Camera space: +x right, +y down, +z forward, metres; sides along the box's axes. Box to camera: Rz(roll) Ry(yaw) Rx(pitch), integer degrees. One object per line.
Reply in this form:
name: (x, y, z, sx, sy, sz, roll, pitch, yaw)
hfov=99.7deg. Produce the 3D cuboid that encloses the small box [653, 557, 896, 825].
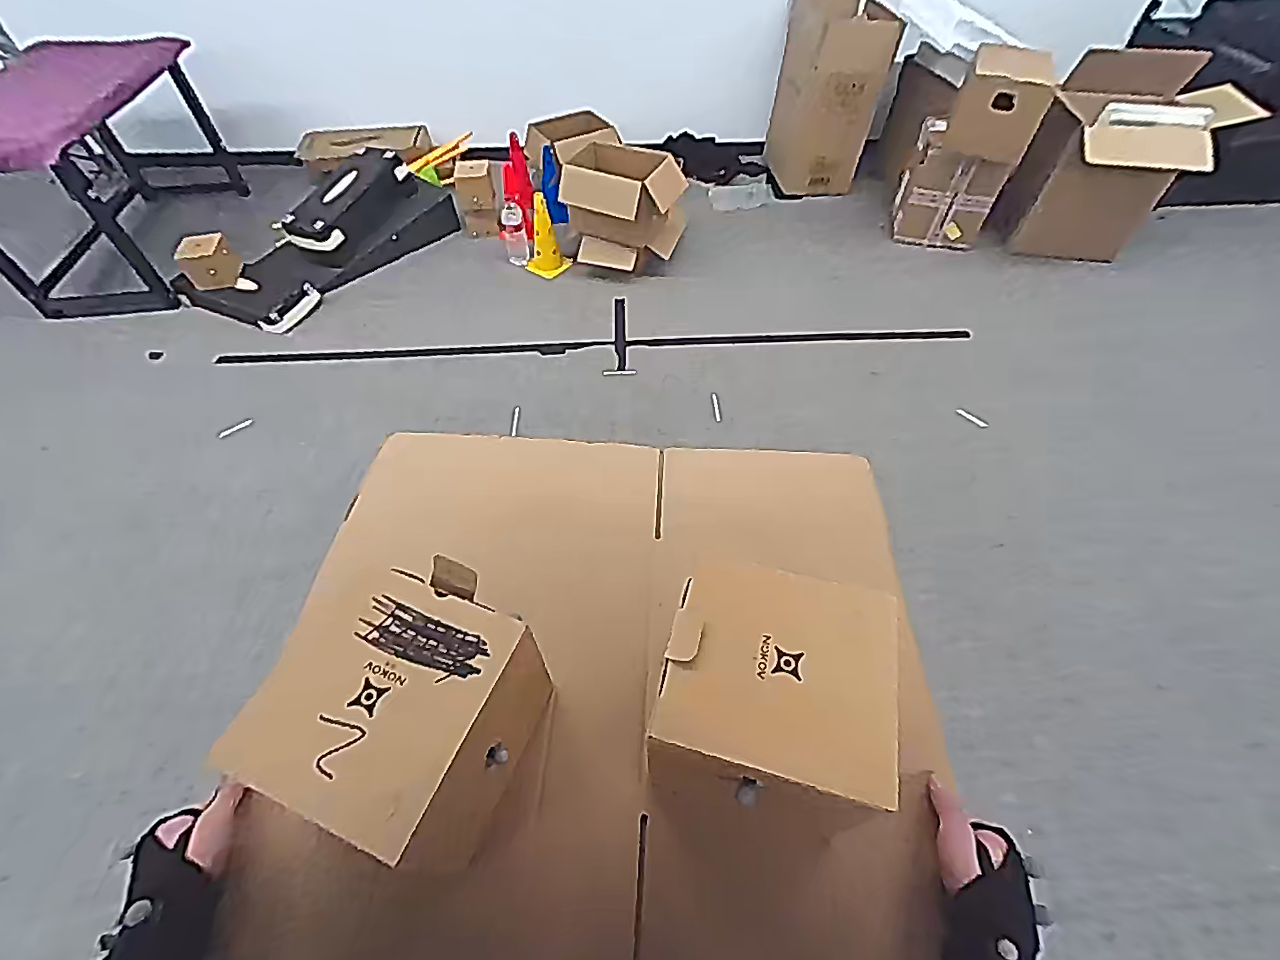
small box: (0.117, 0.198, 0.499, 0.179, 0.176, 0.168, 11, 53, 12)
